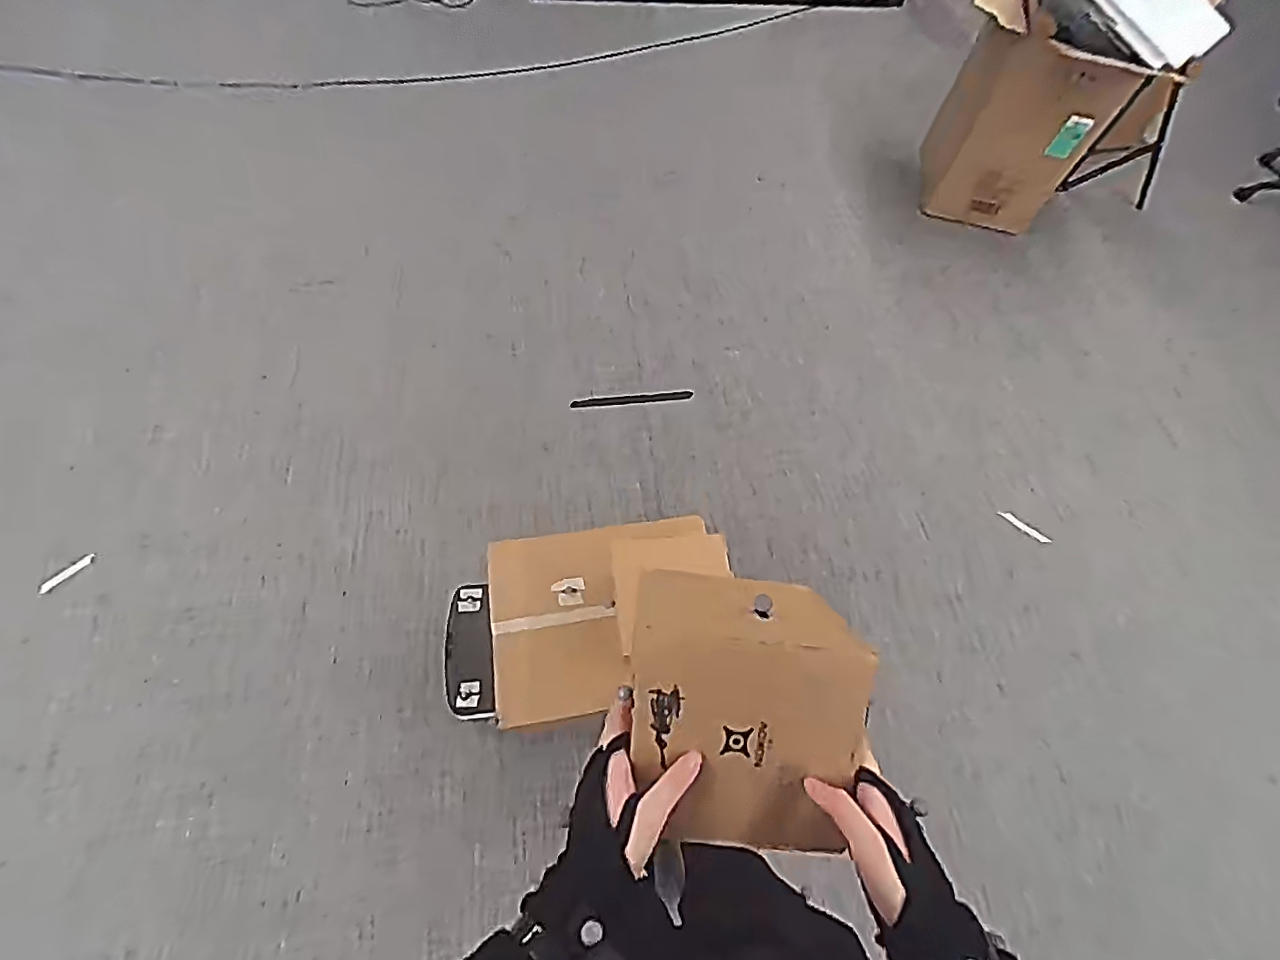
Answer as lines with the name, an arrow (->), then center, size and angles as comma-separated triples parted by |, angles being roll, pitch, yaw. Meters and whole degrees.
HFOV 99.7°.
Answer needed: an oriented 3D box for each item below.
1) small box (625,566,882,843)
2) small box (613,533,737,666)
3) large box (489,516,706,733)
small box -> 0.082, 0.181, 0.483 | 0.179, 0.176, 0.168 | 6, 94, -2
small box -> 0.052, 0.191, 0.847 | 0.179, 0.176, 0.168 | -4, 65, -6
large box -> -0.057, 0.294, 1.063 | 0.408, 0.320, 0.320 | -8, 64, -7
